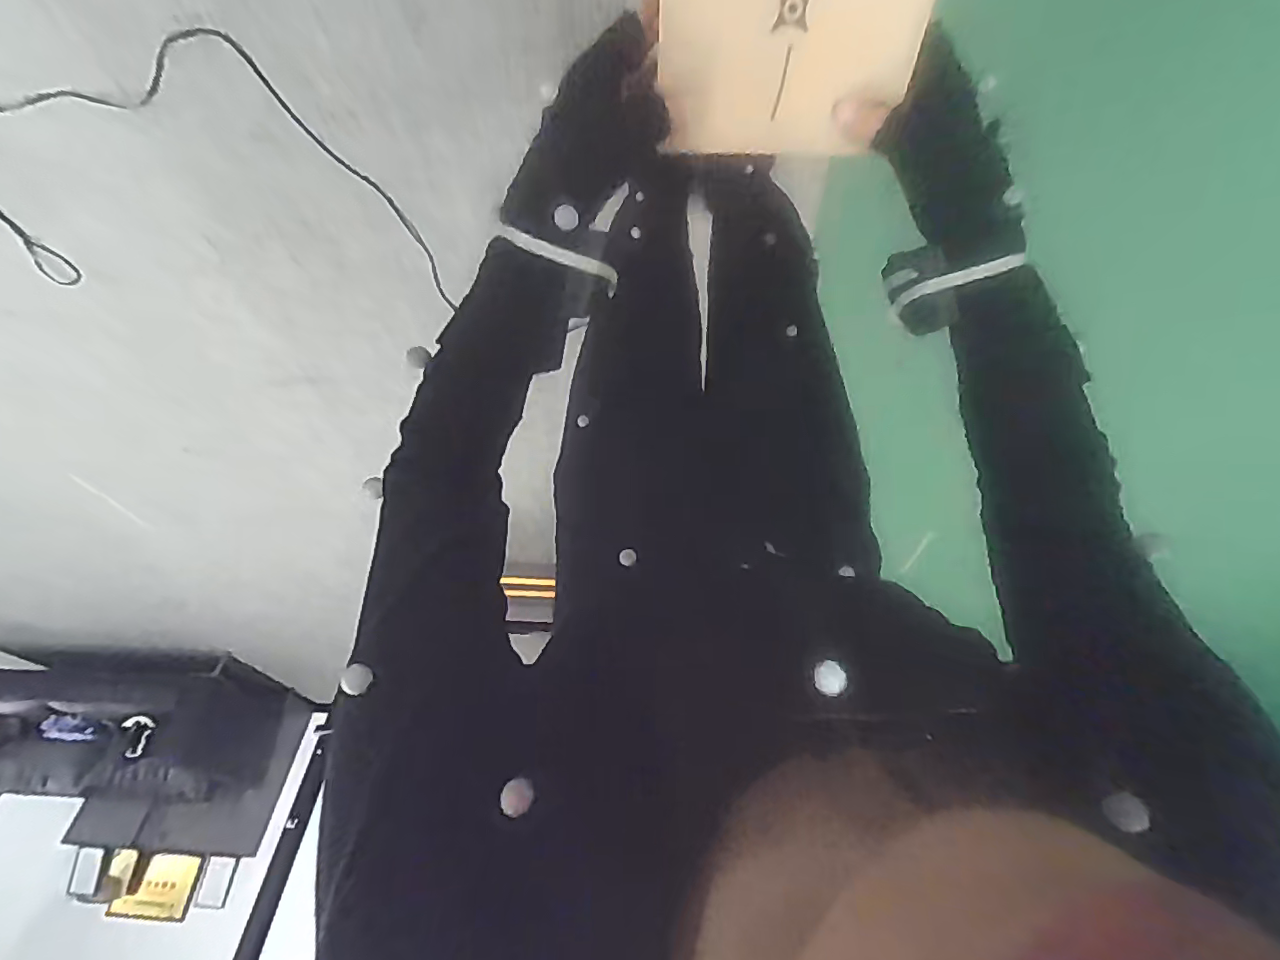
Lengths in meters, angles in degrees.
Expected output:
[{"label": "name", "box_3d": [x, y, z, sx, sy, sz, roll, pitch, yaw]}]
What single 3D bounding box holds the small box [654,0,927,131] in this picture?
[{"label": "small box", "box_3d": [0.095, -0.365, 0.370, 0.168, 0.176, 0.179, 2, 138, 0]}]
